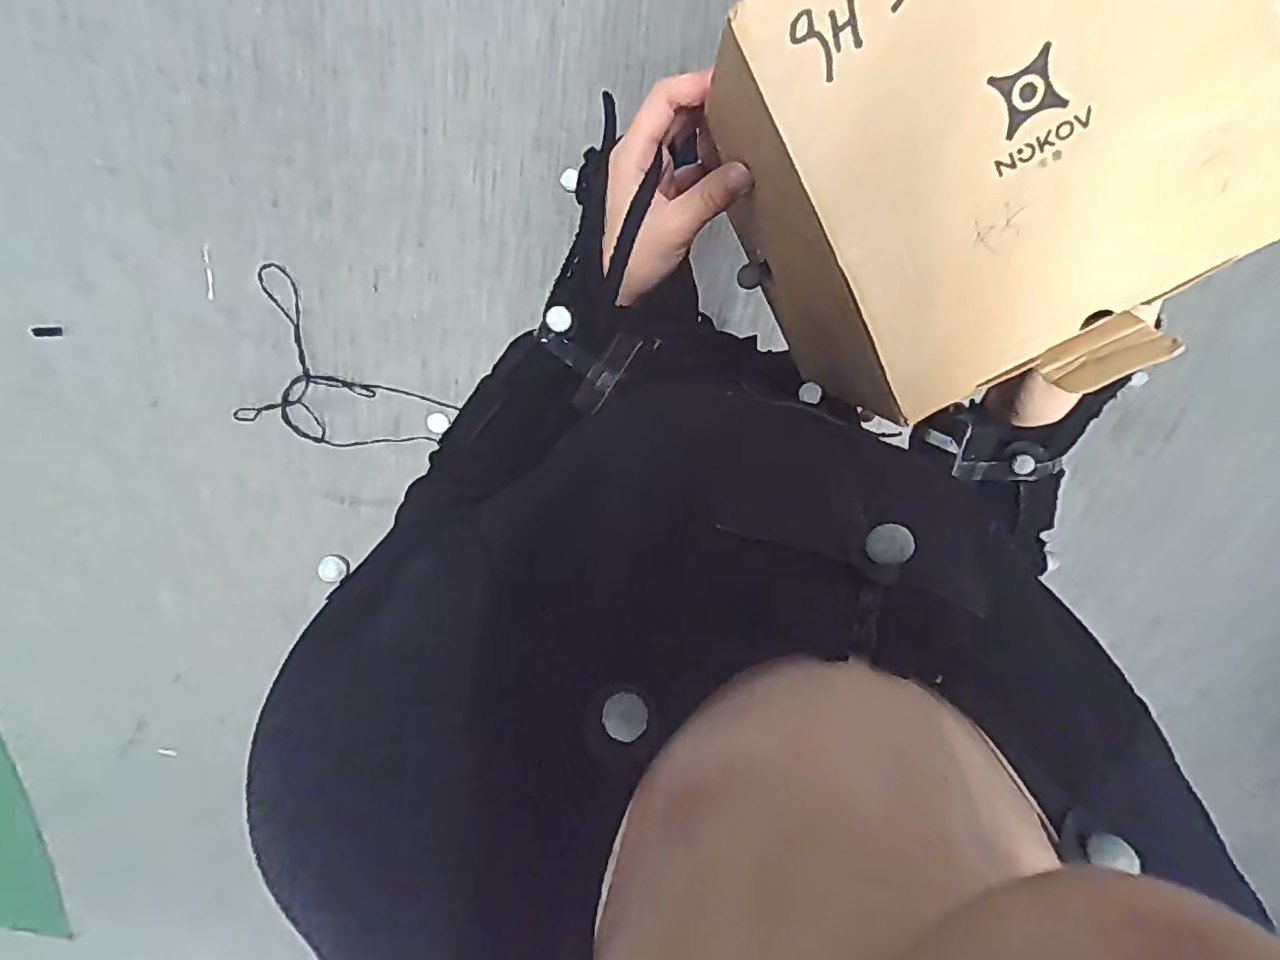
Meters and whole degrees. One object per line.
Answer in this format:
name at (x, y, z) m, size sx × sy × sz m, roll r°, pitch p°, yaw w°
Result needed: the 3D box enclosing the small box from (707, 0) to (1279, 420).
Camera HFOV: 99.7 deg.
small box at (0.148, -0.157, 0.281) m, size 0.168 × 0.176 × 0.179 m, roll -26°, pitch 105°, yaw 9°
